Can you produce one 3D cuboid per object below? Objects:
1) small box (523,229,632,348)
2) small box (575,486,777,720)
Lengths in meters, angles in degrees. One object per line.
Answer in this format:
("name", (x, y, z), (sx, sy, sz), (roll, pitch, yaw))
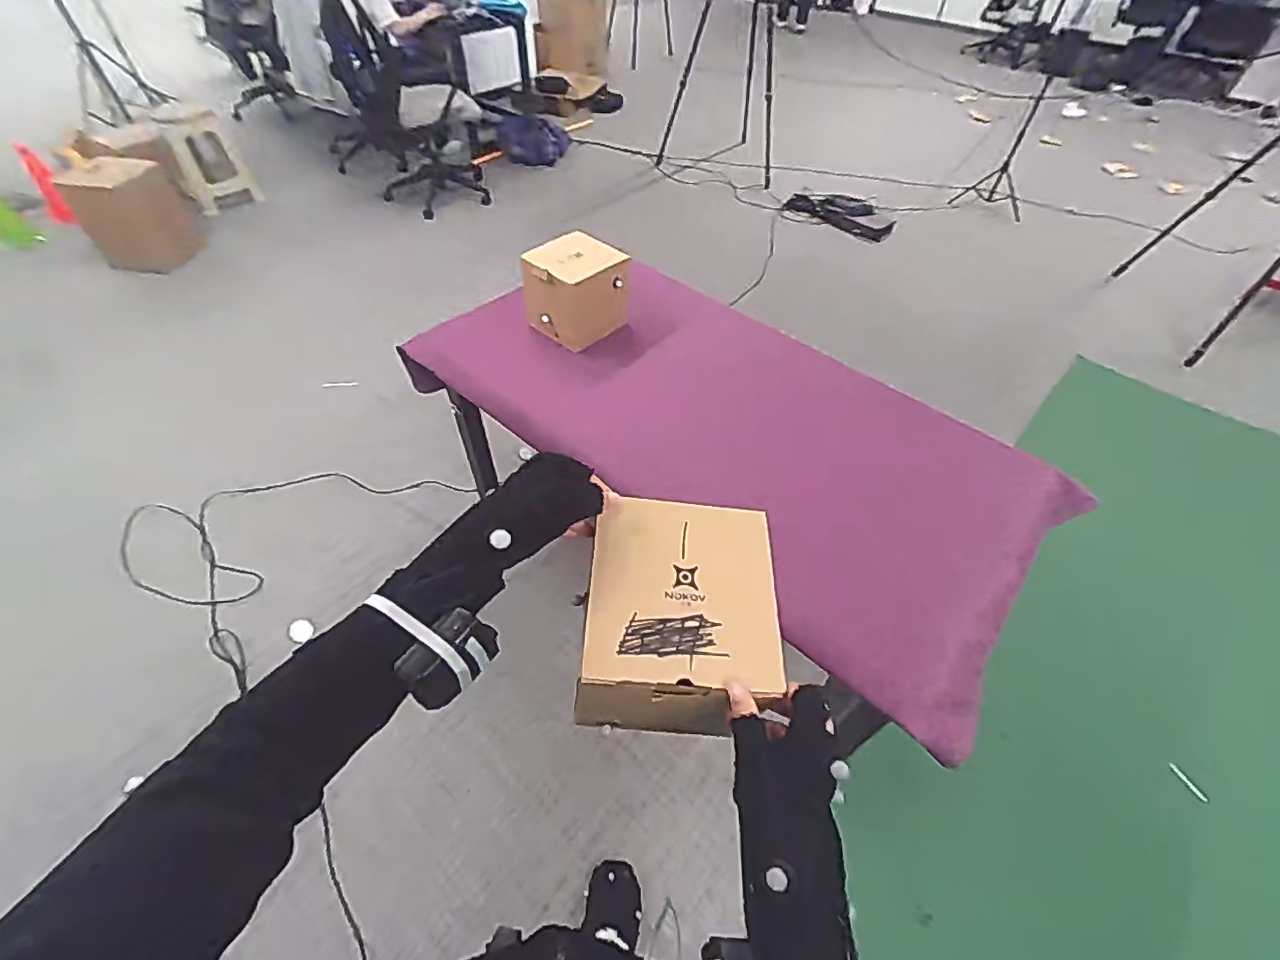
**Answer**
("small box", (-0.138, -0.429, 1.217), (0.168, 0.176, 0.179), (36, 58, 25))
("small box", (0.026, 0.130, 0.542), (0.168, 0.176, 0.179), (6, 53, -4))
